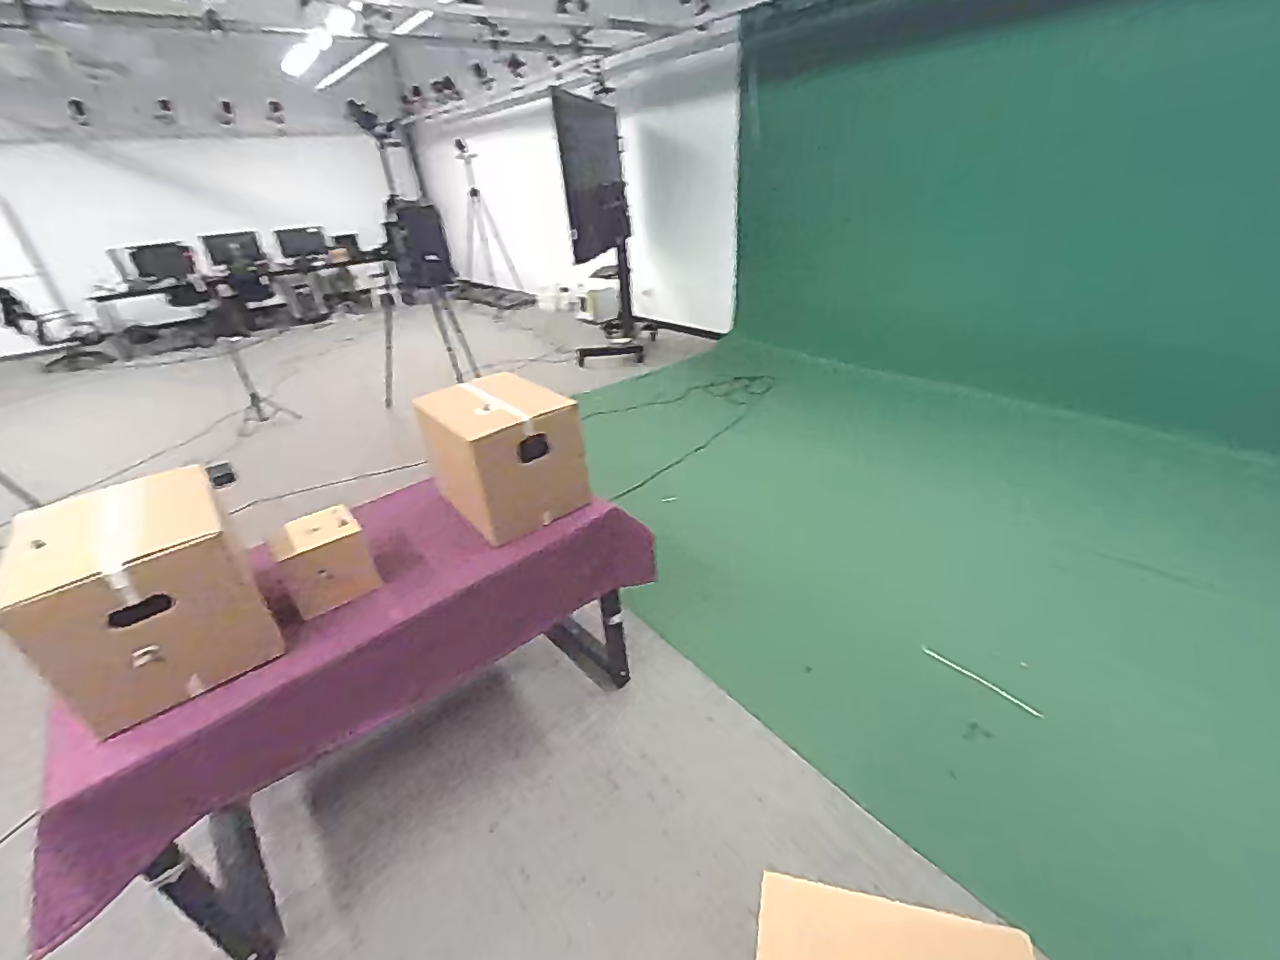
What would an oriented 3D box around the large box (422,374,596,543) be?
[{"bbox_3d":[-0.372,-0.080,1.552,0.320,0.320,0.408,-25,36,-31],"label":"large box"}]
